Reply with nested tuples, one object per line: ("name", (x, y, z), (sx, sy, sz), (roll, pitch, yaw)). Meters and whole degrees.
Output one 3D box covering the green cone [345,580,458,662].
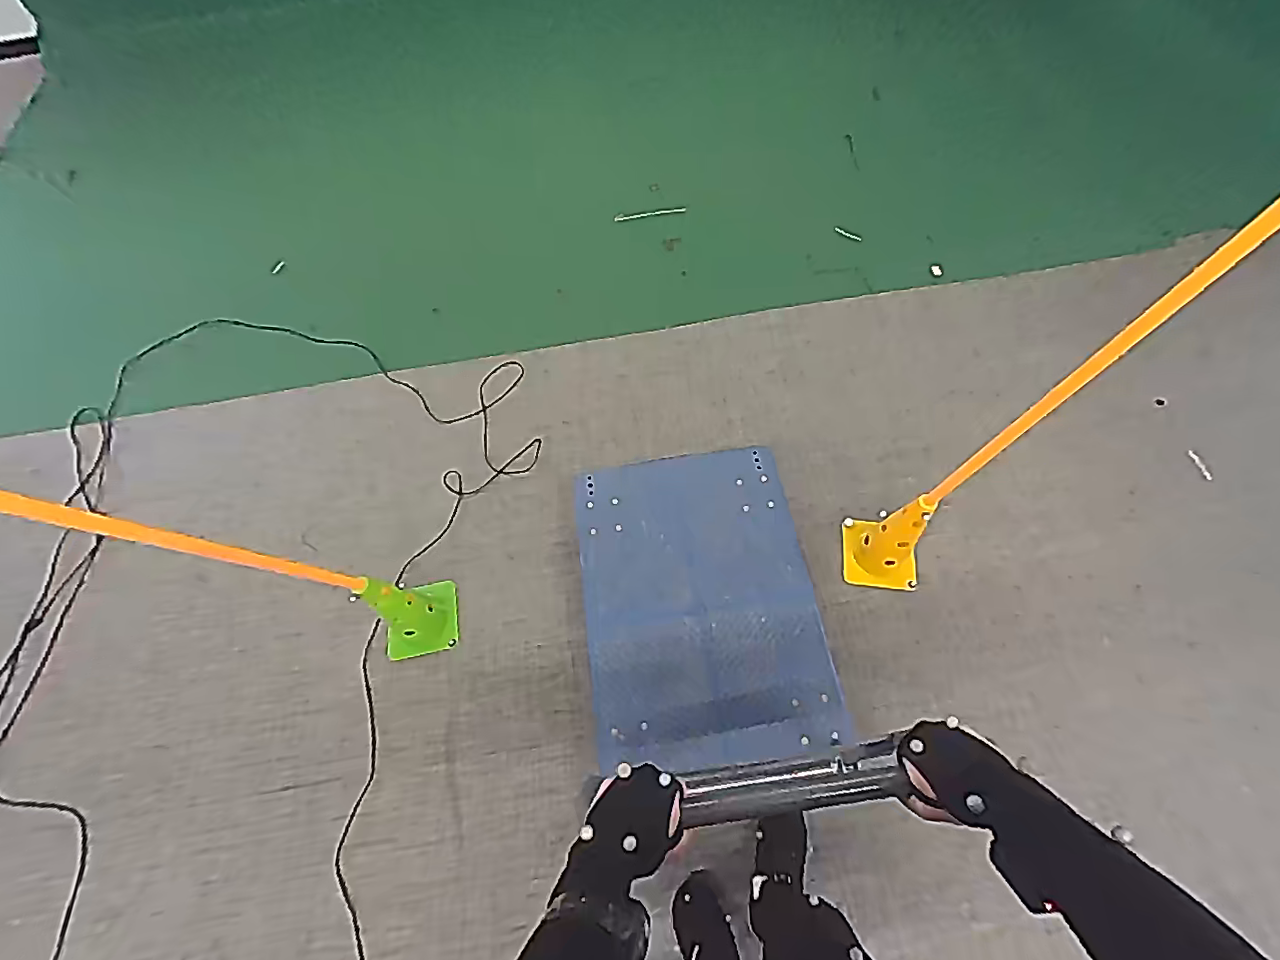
("green cone", (-0.643, 0.327, 1.408), (0.202, 0.368, 0.200), (-14, 62, -1))
